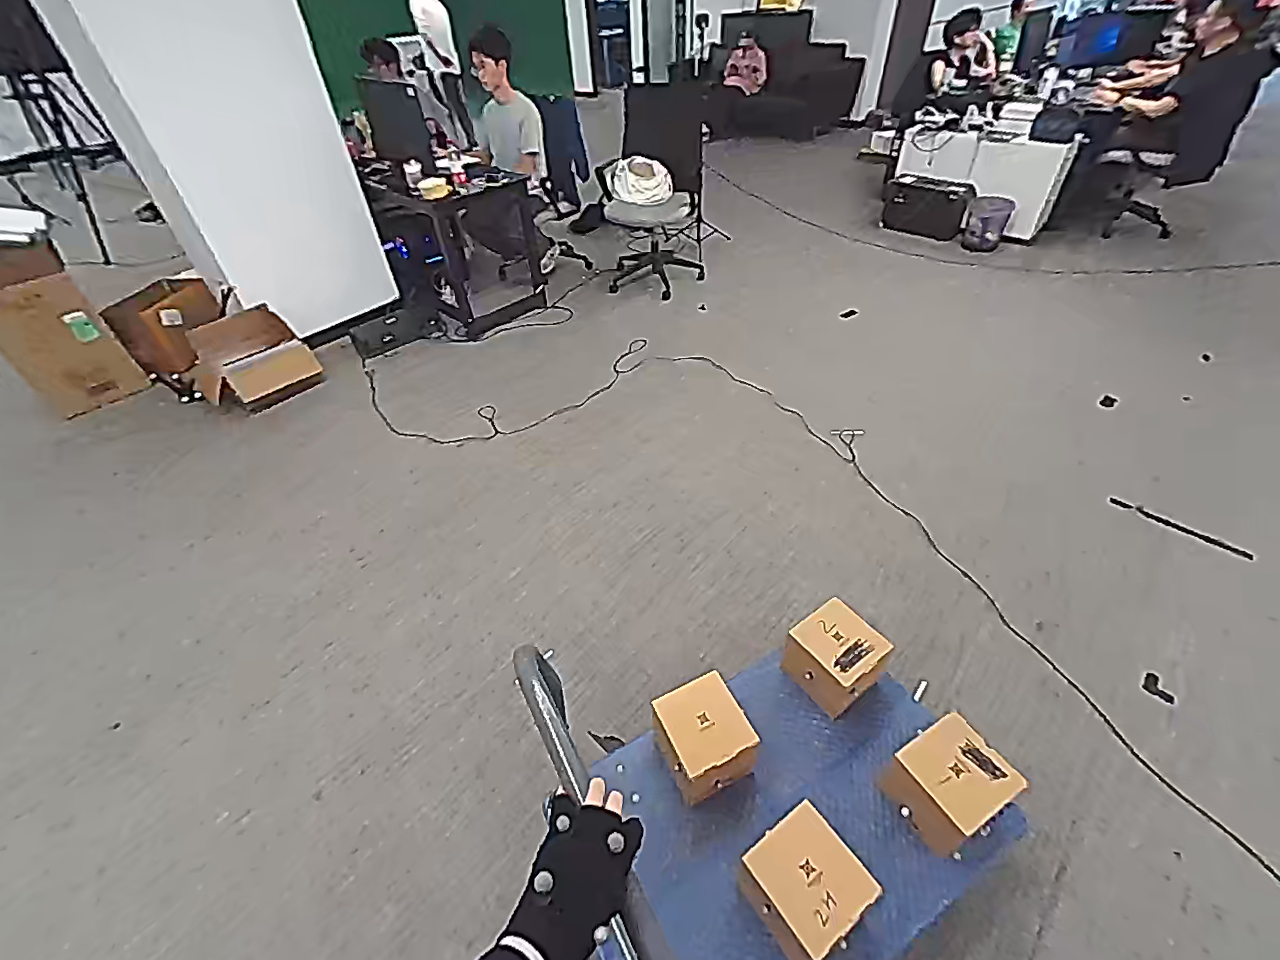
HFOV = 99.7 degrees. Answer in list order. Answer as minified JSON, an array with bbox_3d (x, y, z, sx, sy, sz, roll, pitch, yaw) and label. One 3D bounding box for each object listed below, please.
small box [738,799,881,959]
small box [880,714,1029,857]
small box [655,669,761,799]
[{"bbox_3d":[0.295,0.734,0.985,0.168,0.176,0.179,-26,48,-22],"label":"small box"},{"bbox_3d":[0.620,0.614,1.090,0.179,0.176,0.168,-23,46,-18],"label":"small box"},{"bbox_3d":[0.139,0.557,1.185,0.168,0.176,0.179,-19,47,-17],"label":"small box"}]
